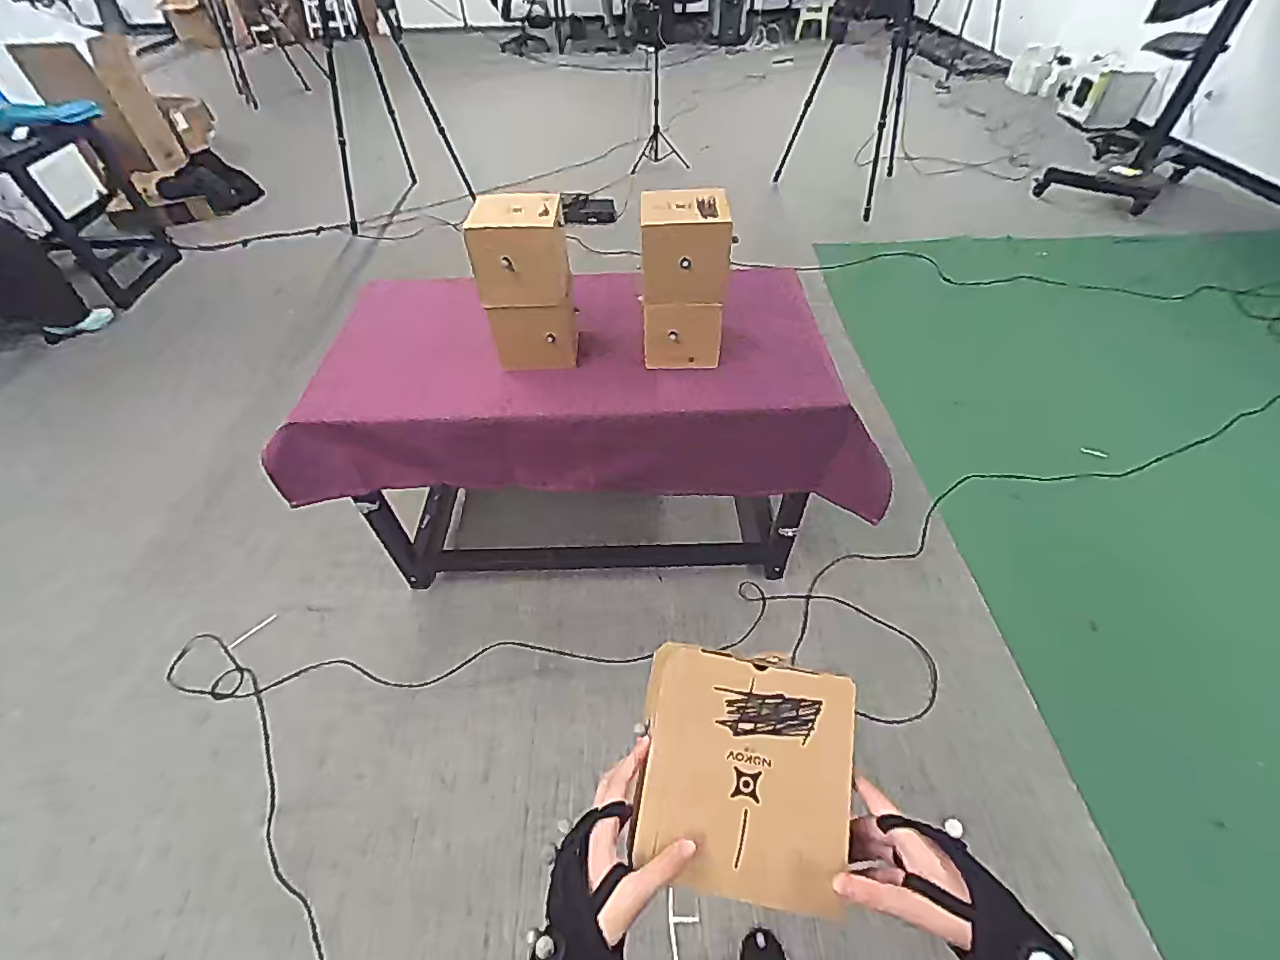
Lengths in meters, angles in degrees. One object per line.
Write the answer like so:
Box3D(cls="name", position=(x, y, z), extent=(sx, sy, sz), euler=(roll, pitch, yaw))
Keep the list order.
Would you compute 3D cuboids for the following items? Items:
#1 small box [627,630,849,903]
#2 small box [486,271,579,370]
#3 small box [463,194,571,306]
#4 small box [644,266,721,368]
Box3D(cls="small box", position=(0.082, 0.254, 0.515), extent=(0.168, 0.176, 0.179), euler=(11, 69, 2))
Box3D(cls="small box", position=(-0.239, -0.370, 1.256), extent=(0.179, 0.176, 0.168), euler=(-1, 47, 1))
Box3D(cls="small box", position=(-0.247, -0.478, 1.133), extent=(0.179, 0.176, 0.168), euler=(-1, 48, 1))
Box3D(cls="small box", position=(0.096, -0.374, 1.250), extent=(0.168, 0.176, 0.179), euler=(0, 47, 2))
